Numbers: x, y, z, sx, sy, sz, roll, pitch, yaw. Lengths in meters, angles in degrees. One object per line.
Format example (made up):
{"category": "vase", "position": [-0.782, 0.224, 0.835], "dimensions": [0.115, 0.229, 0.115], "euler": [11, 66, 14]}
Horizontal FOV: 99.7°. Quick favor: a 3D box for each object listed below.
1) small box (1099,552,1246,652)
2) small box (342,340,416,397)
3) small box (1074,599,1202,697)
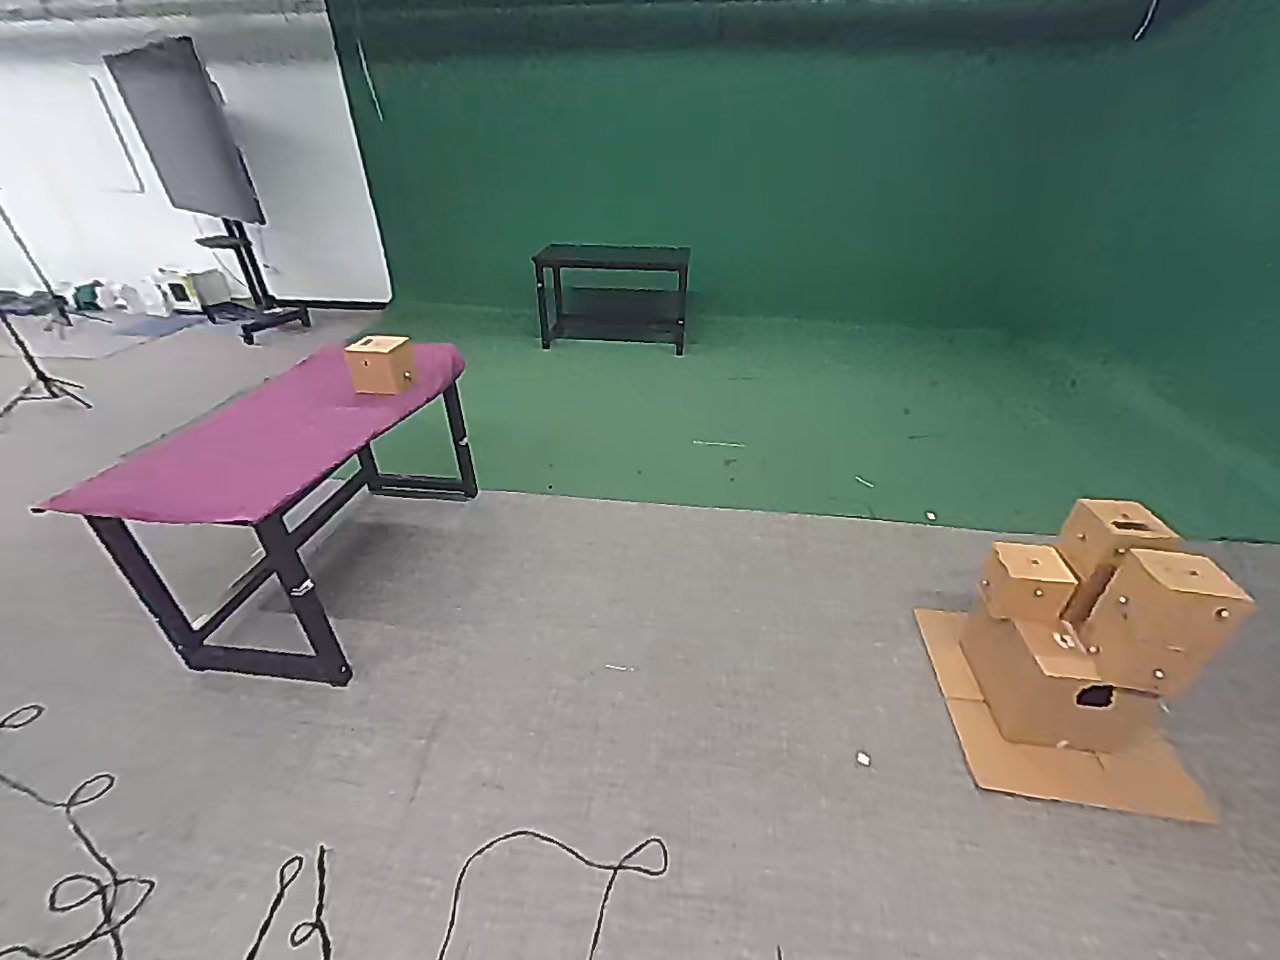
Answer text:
{"category": "small box", "position": [1.324, 0.308, 1.361], "dimensions": [0.179, 0.176, 0.168], "euler": [7, 30, 10]}
{"category": "small box", "position": [-0.984, -0.422, 2.054], "dimensions": [0.179, 0.176, 0.168], "euler": [5, 33, 6]}
{"category": "small box", "position": [1.320, 0.450, 1.449], "dimensions": [0.168, 0.176, 0.179], "euler": [6, 30, 9]}
